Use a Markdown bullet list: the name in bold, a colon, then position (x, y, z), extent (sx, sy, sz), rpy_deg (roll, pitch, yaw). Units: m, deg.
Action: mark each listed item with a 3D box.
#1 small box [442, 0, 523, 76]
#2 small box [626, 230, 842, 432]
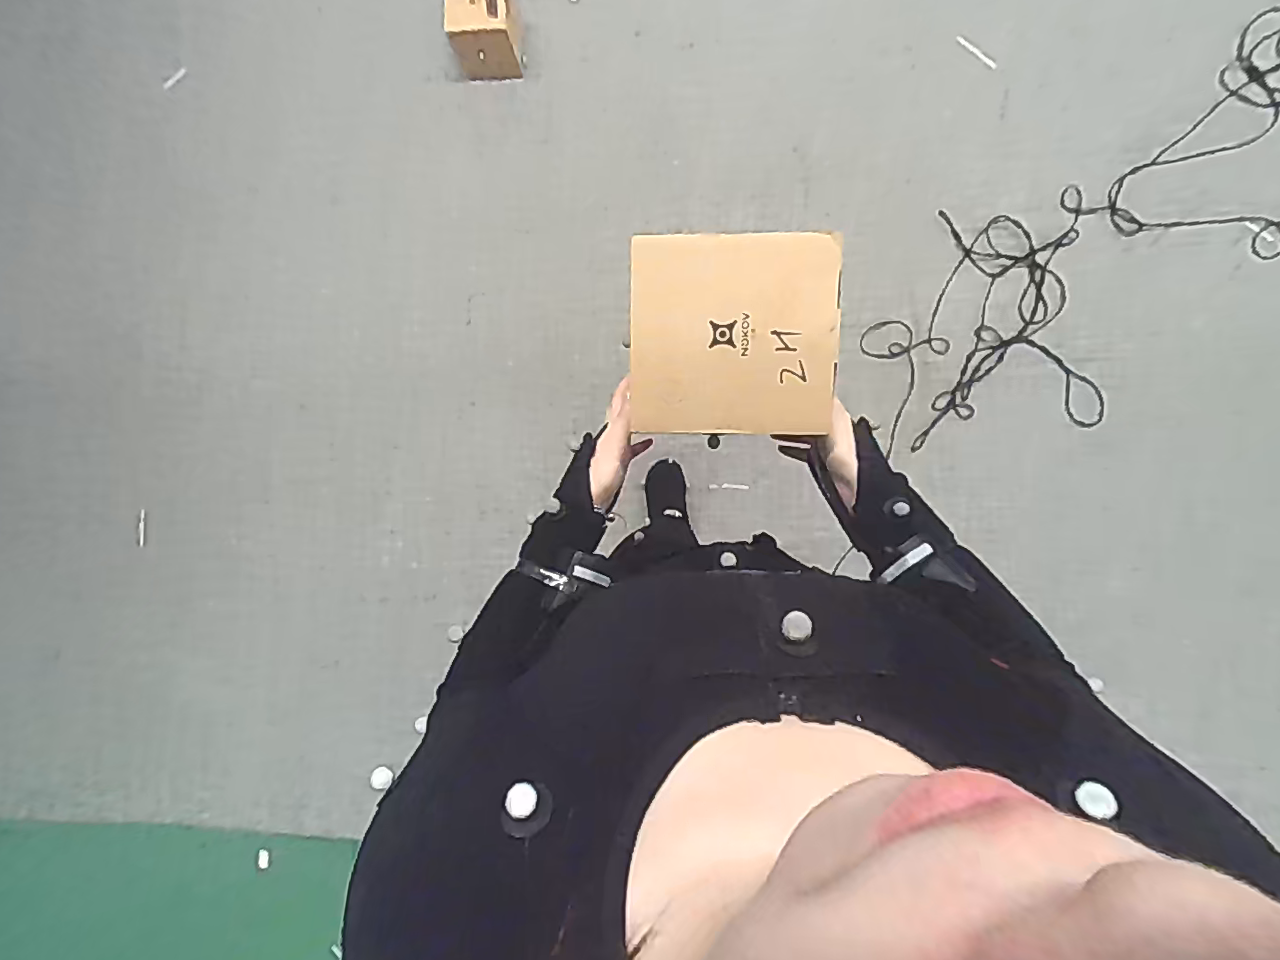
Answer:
- **small box**: position (-0.437, -1.283, 1.525), extent (0.179, 0.176, 0.168), rpy_deg (1, 88, 5)
- **small box**: position (0.082, -0.134, 0.531), extent (0.179, 0.176, 0.168), rpy_deg (1, 99, 4)
